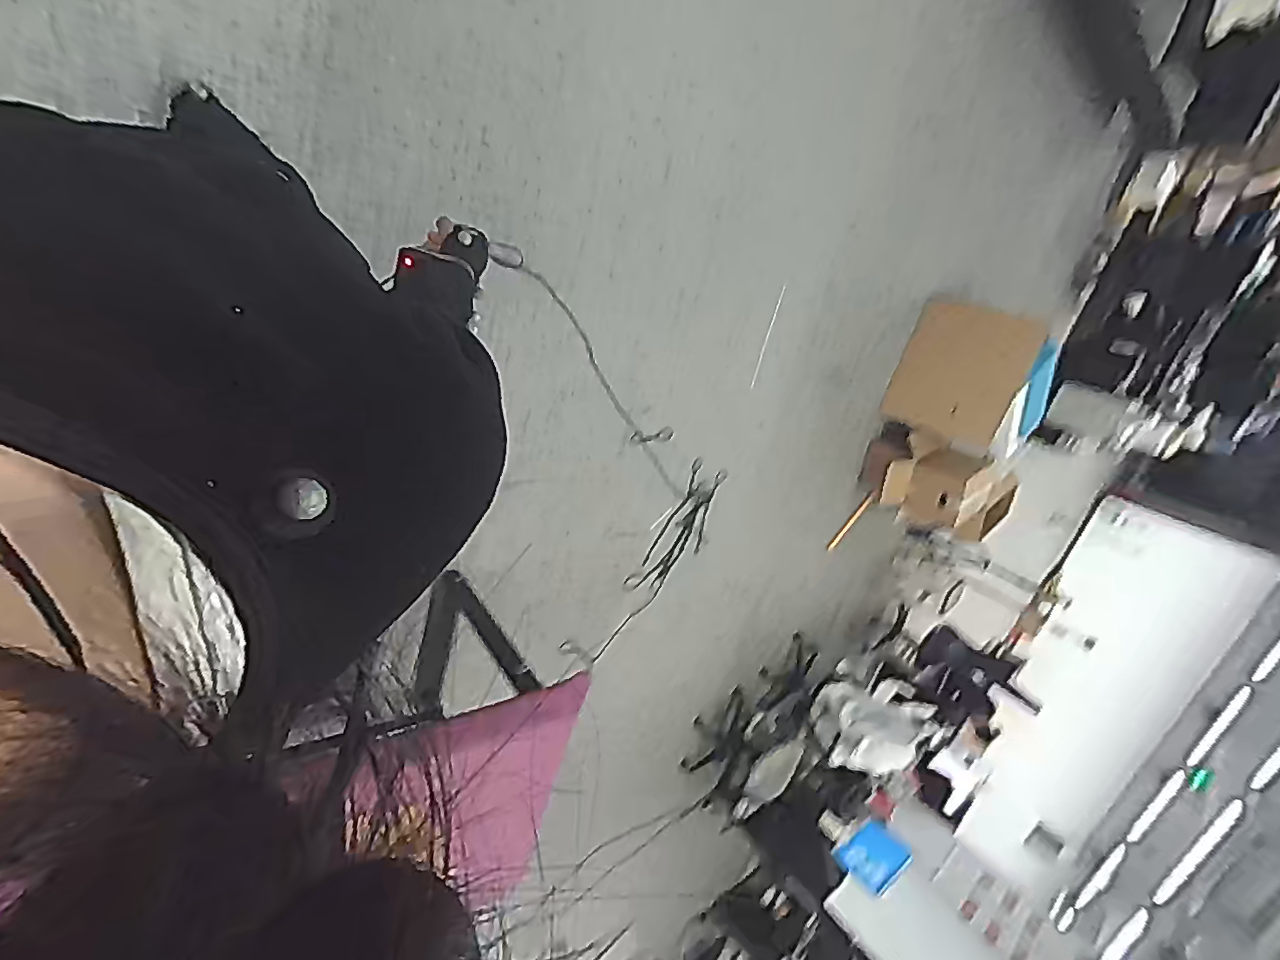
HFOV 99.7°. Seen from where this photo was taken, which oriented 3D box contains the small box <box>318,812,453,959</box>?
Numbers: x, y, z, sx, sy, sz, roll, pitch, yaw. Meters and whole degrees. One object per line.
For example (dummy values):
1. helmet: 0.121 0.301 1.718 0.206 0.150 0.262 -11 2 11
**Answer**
1. small box: -0.501 0.786 1.055 0.168 0.176 0.179 17 102 -47
